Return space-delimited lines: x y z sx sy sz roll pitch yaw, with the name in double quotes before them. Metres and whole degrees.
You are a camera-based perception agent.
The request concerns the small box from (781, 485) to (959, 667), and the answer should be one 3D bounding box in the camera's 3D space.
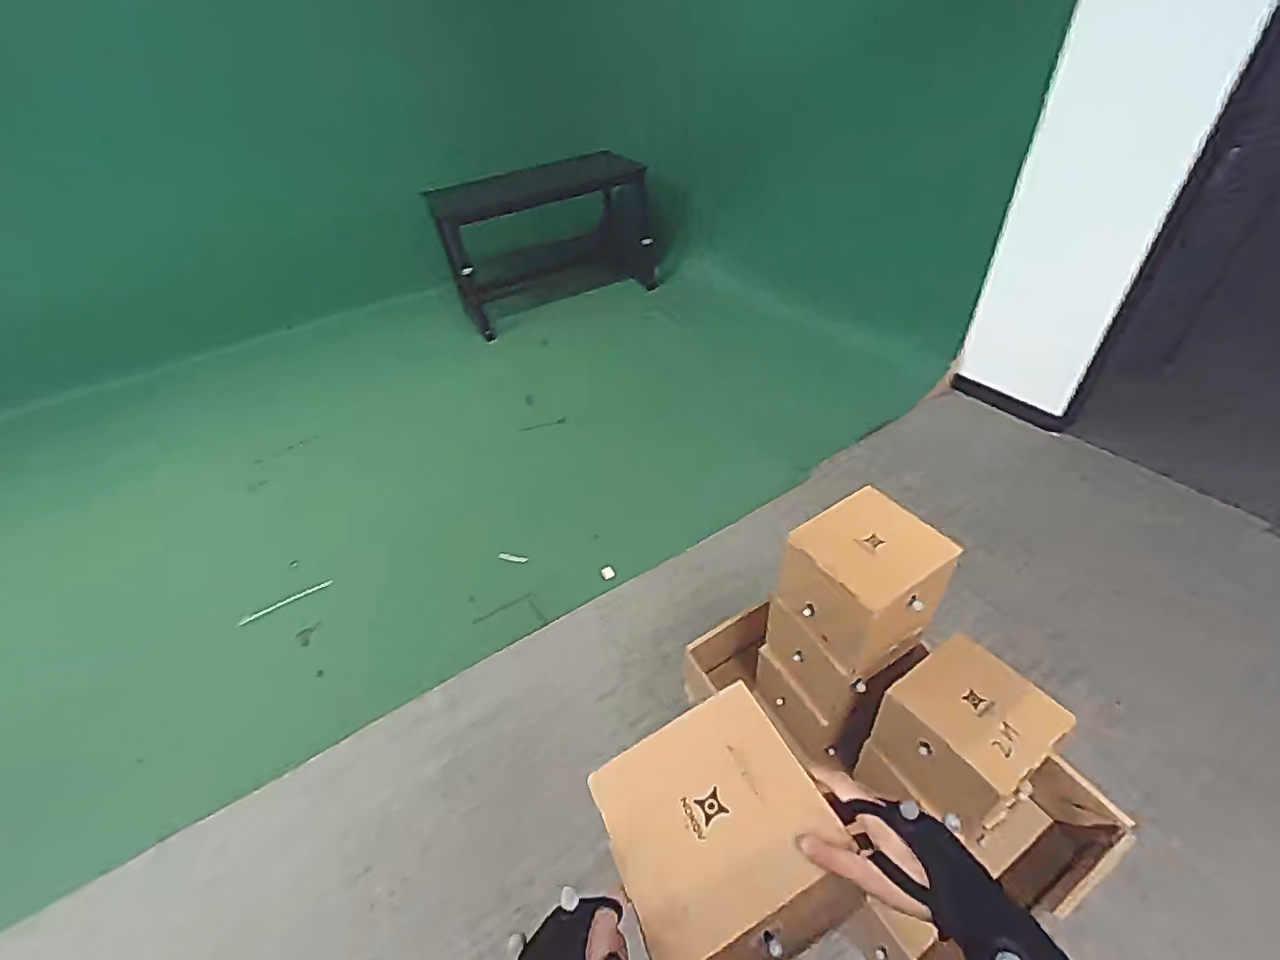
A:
"small box" 0.332 0.144 0.820 0.179 0.176 0.168 -27 46 -19
